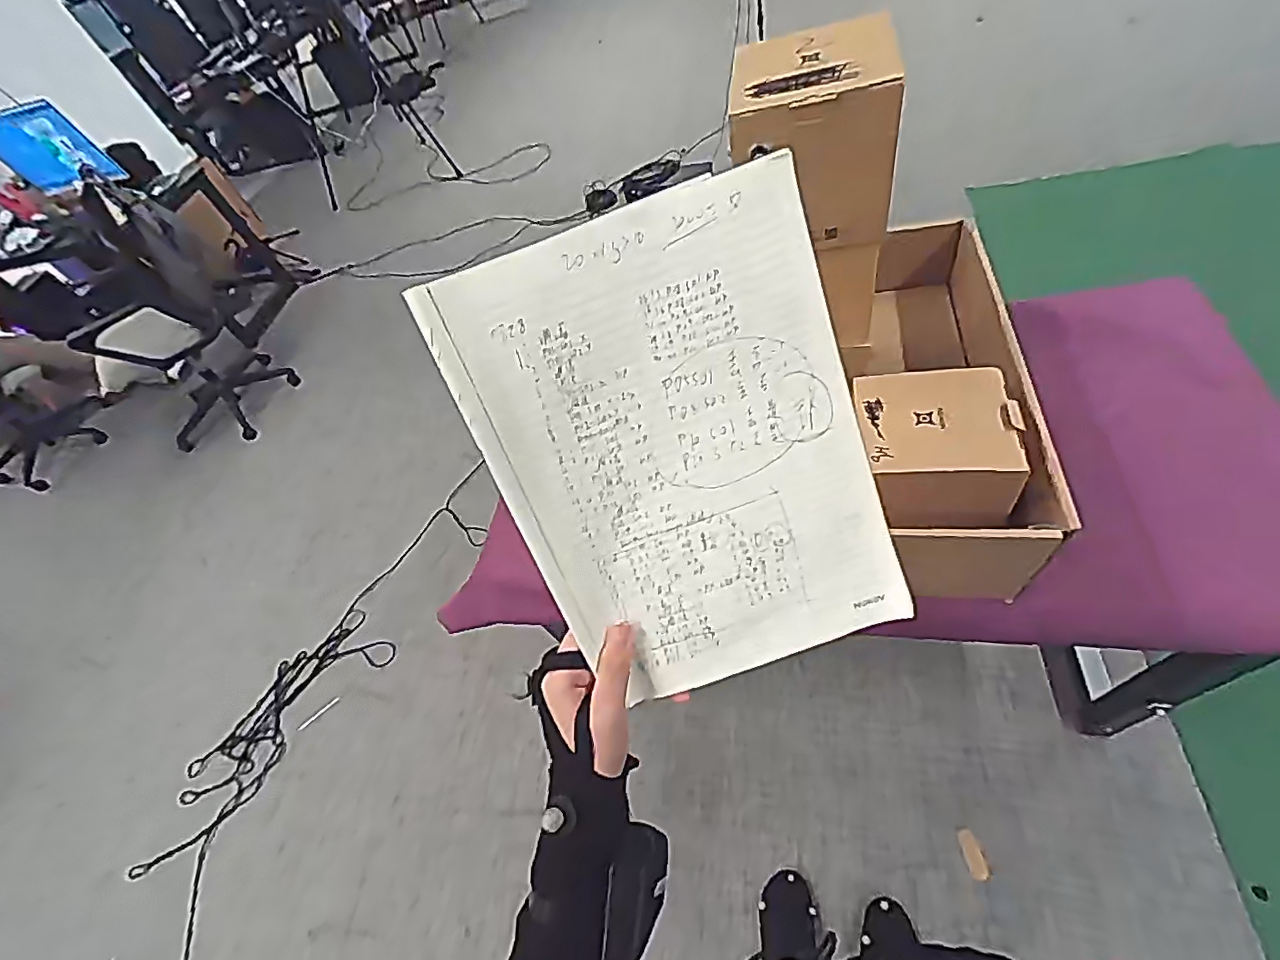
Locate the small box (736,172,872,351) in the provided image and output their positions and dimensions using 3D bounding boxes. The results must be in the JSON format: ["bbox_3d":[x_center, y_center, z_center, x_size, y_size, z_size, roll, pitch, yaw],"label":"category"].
[{"bbox_3d":[0.235,-0.299,0.772,0.168,0.176,0.179,0,55,18],"label":"small box"}]
